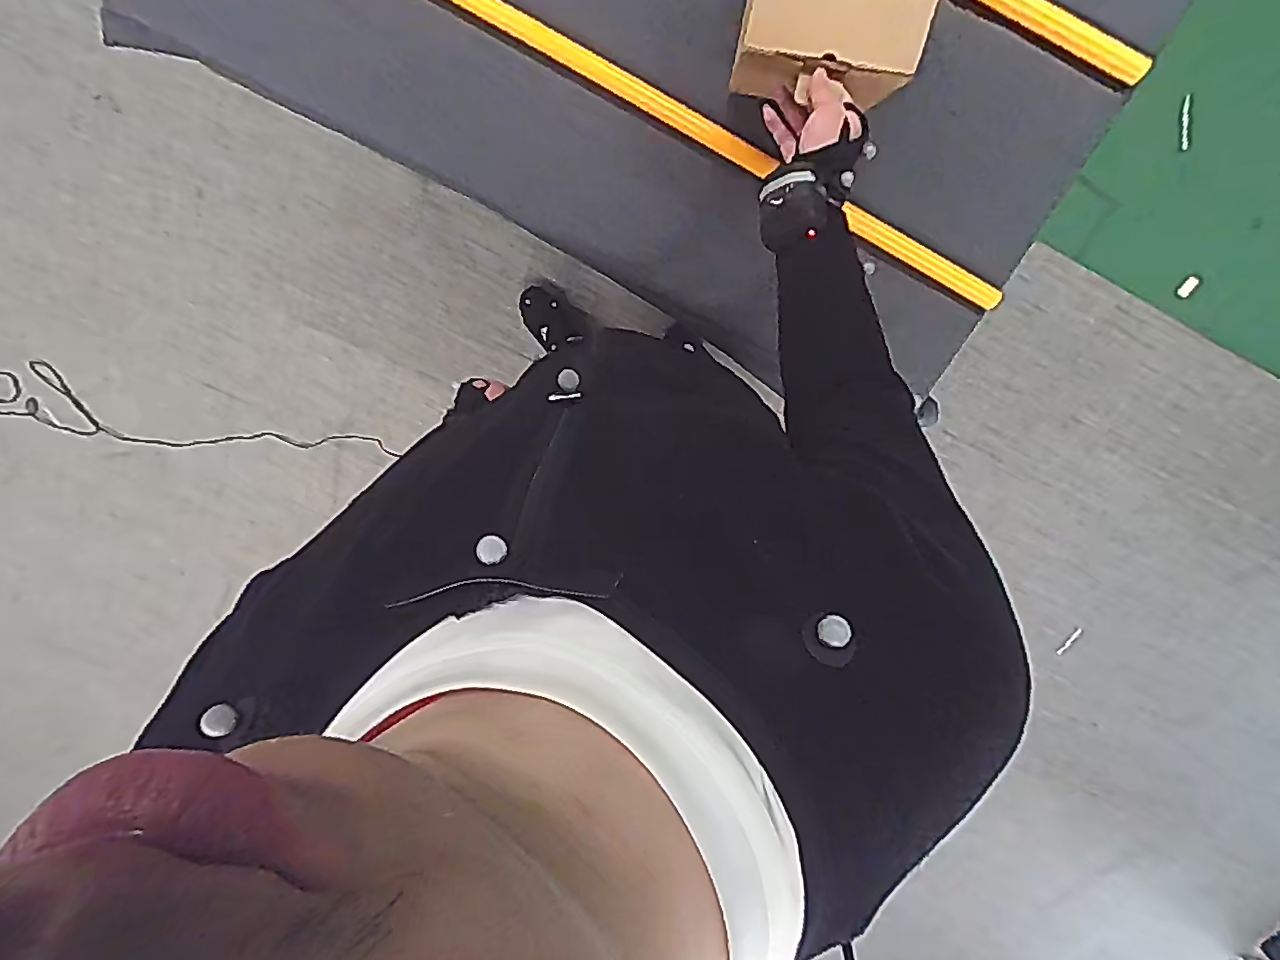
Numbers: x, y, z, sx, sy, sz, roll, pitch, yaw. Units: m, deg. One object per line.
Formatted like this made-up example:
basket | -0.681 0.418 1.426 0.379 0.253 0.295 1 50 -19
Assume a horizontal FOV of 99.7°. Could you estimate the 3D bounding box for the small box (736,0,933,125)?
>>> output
small box | 0.199 -0.496 0.567 0.168 0.176 0.179 9 112 2
